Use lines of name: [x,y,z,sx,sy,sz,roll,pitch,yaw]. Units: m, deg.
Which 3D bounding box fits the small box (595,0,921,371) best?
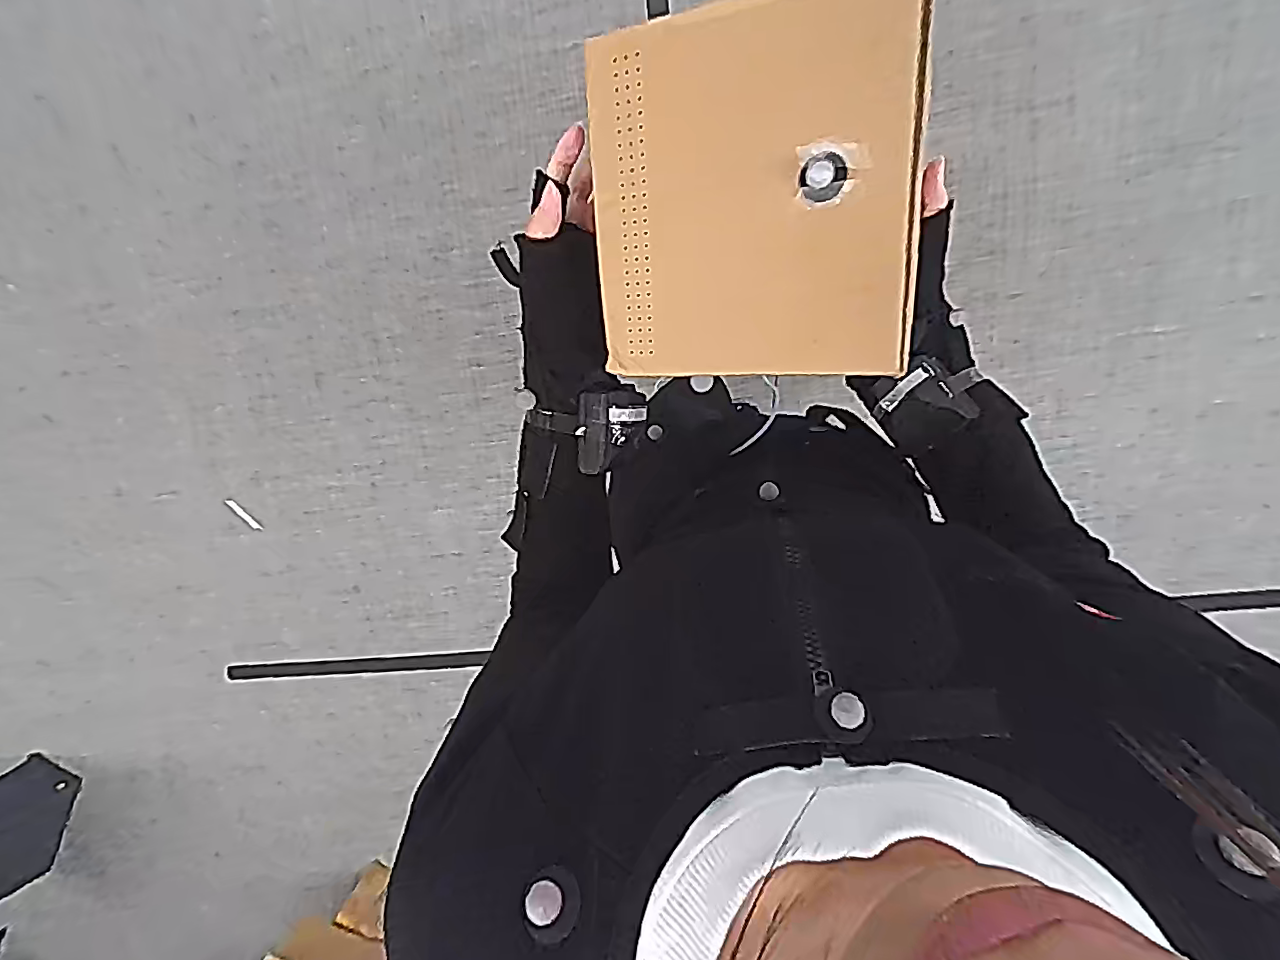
small box: [0.080,-0.167,0.352,0.176,0.168,0.179,5,107,25]
